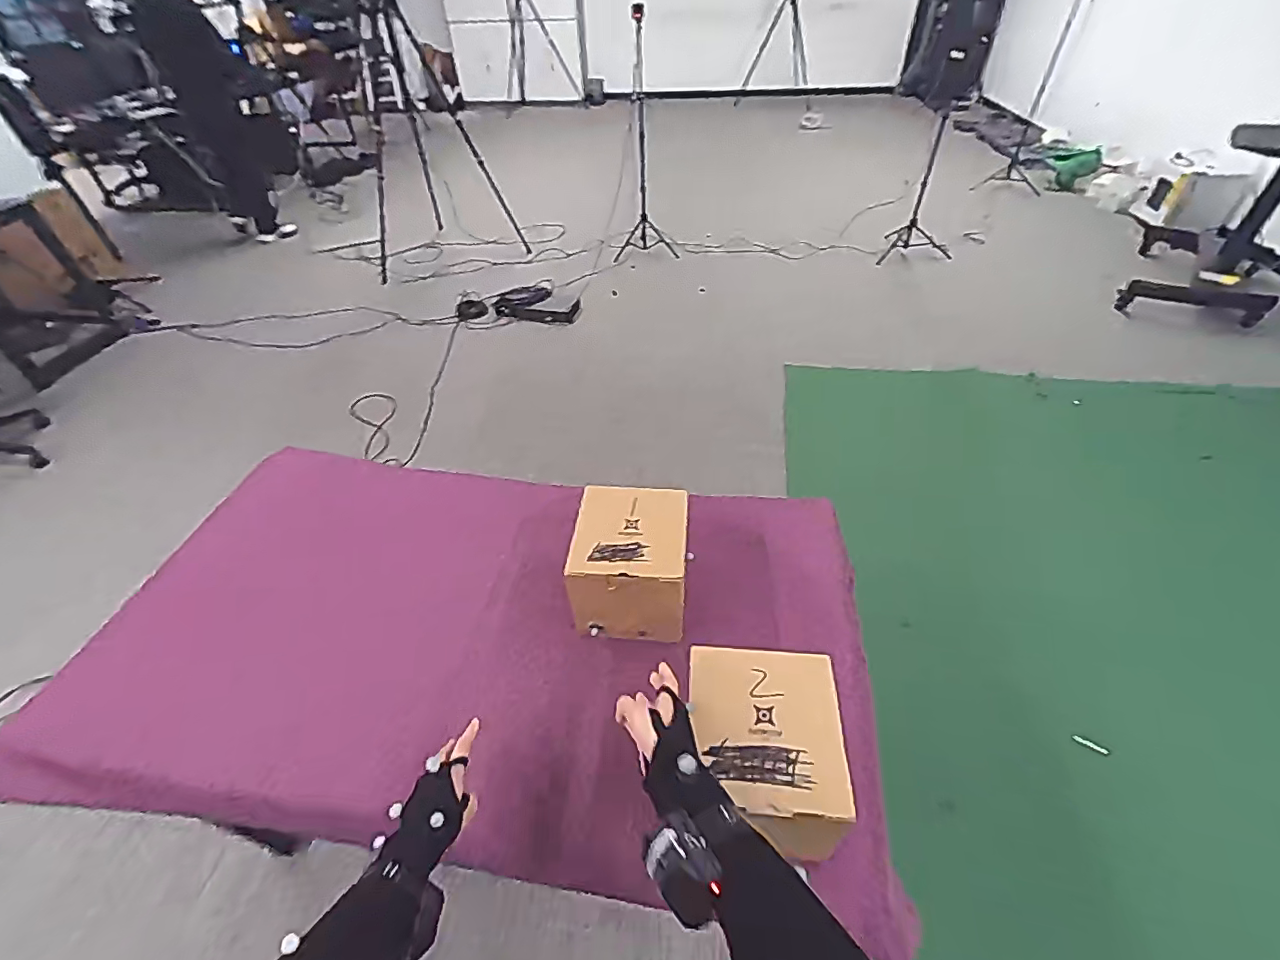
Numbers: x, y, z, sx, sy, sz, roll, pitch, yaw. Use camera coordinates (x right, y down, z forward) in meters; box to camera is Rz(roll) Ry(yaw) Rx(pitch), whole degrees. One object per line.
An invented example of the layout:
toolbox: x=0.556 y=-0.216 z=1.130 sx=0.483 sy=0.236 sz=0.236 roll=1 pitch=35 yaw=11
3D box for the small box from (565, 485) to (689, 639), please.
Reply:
small box: x=-0.010 y=0.129 z=0.848 sx=0.168 sy=0.176 sz=0.179 roll=3 pitch=43 yaw=6
